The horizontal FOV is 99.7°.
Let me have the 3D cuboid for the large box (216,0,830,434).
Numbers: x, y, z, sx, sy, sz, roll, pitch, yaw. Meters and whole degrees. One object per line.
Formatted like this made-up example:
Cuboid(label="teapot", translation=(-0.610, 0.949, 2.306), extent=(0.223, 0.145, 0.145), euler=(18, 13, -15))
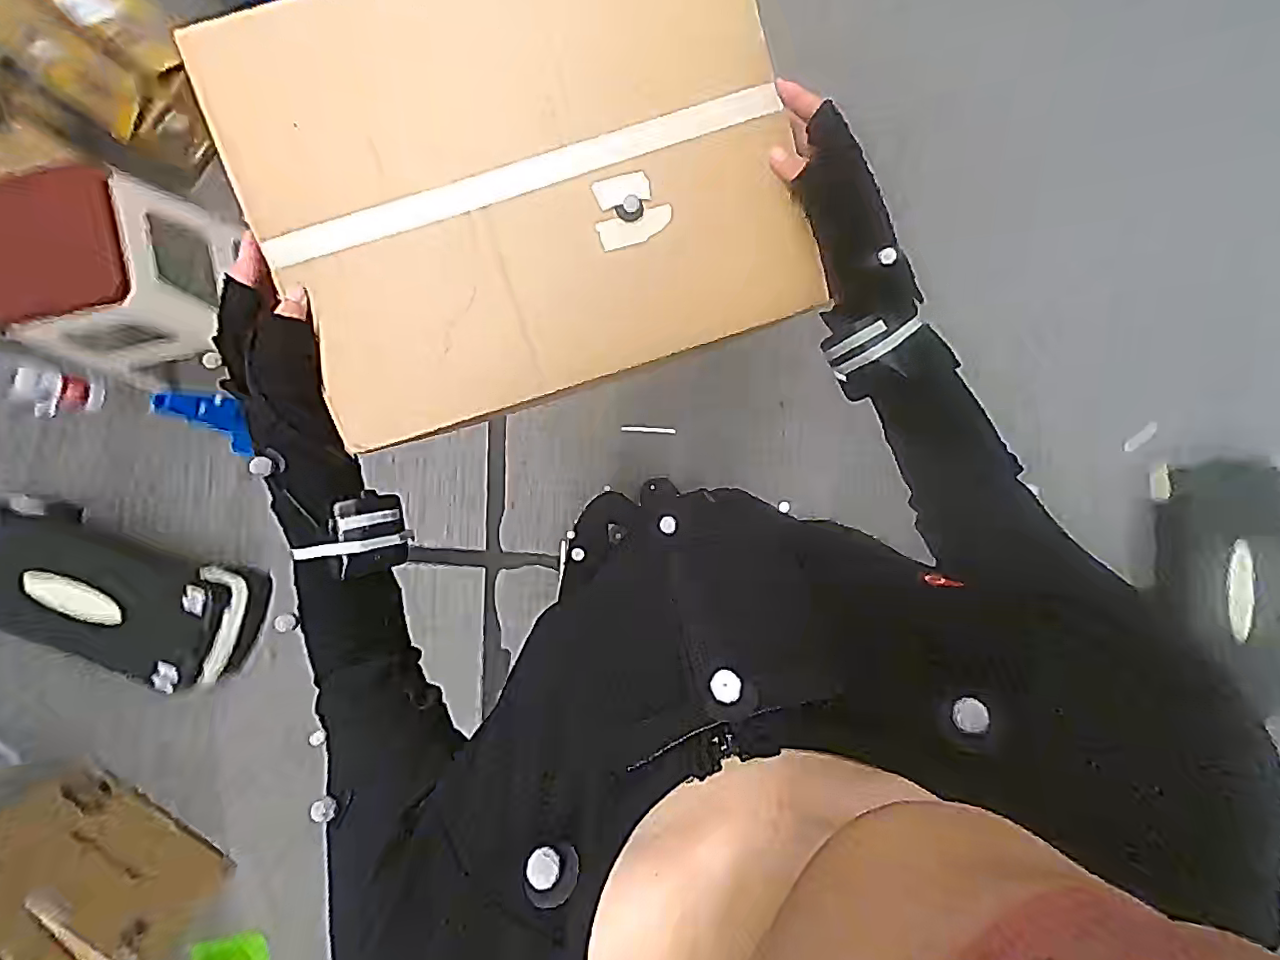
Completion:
Cuboid(label="large box", translation=(-0.087, -0.258, 0.561), extent=(0.408, 0.320, 0.320), euler=(-17, 100, -3))
